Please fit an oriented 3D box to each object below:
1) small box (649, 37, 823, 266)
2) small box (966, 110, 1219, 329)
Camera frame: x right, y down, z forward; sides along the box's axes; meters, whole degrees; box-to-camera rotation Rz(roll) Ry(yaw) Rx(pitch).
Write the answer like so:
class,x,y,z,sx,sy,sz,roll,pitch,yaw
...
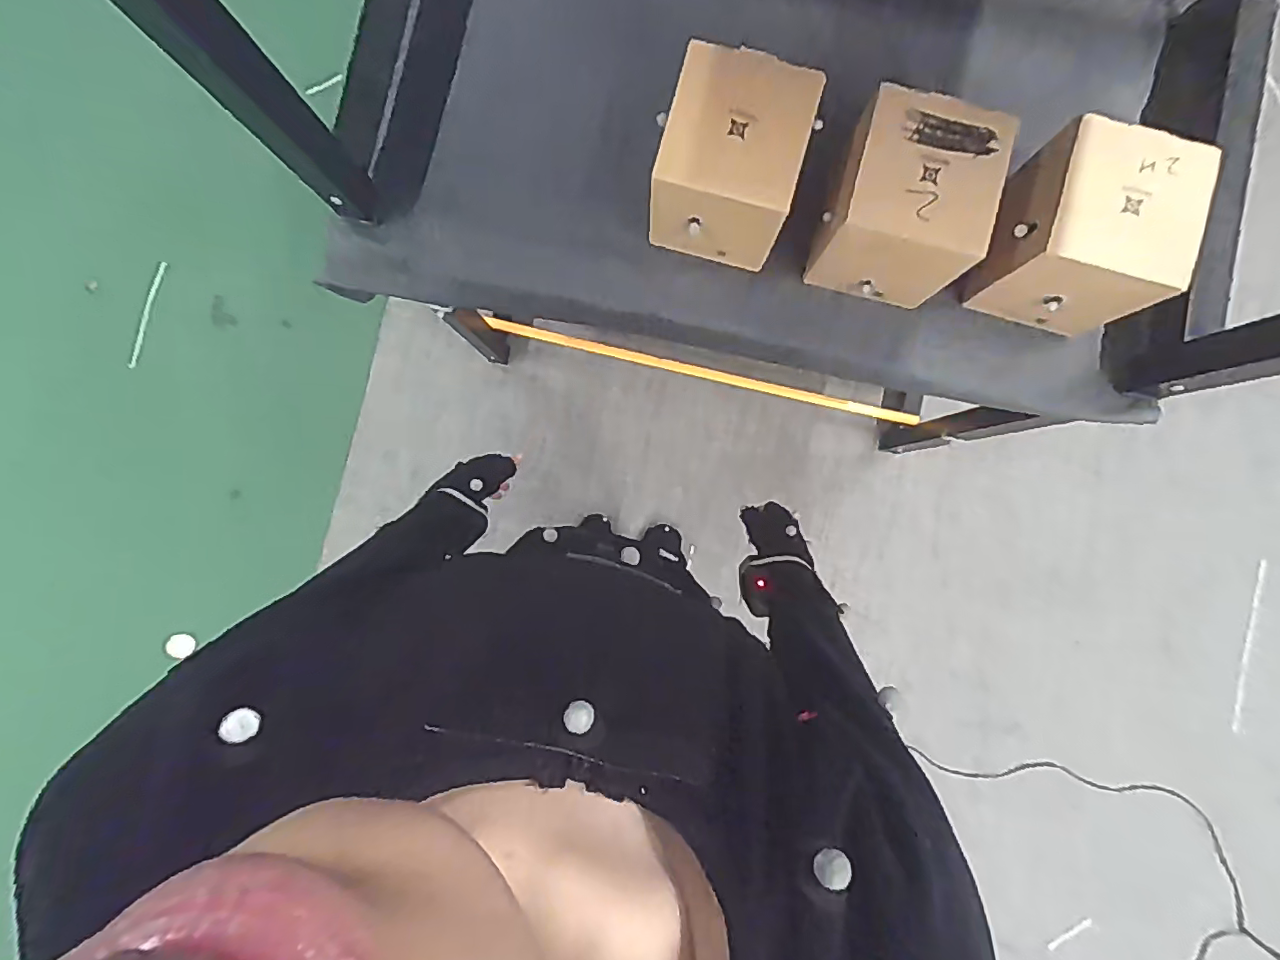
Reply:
class,x,y,z,sx,sy,sz,roll,pitch,yaw
small box,0.114,-0.409,0.704,0.168,0.176,0.179,15,87,1
small box,0.557,-0.316,0.693,0.168,0.176,0.179,17,87,1
